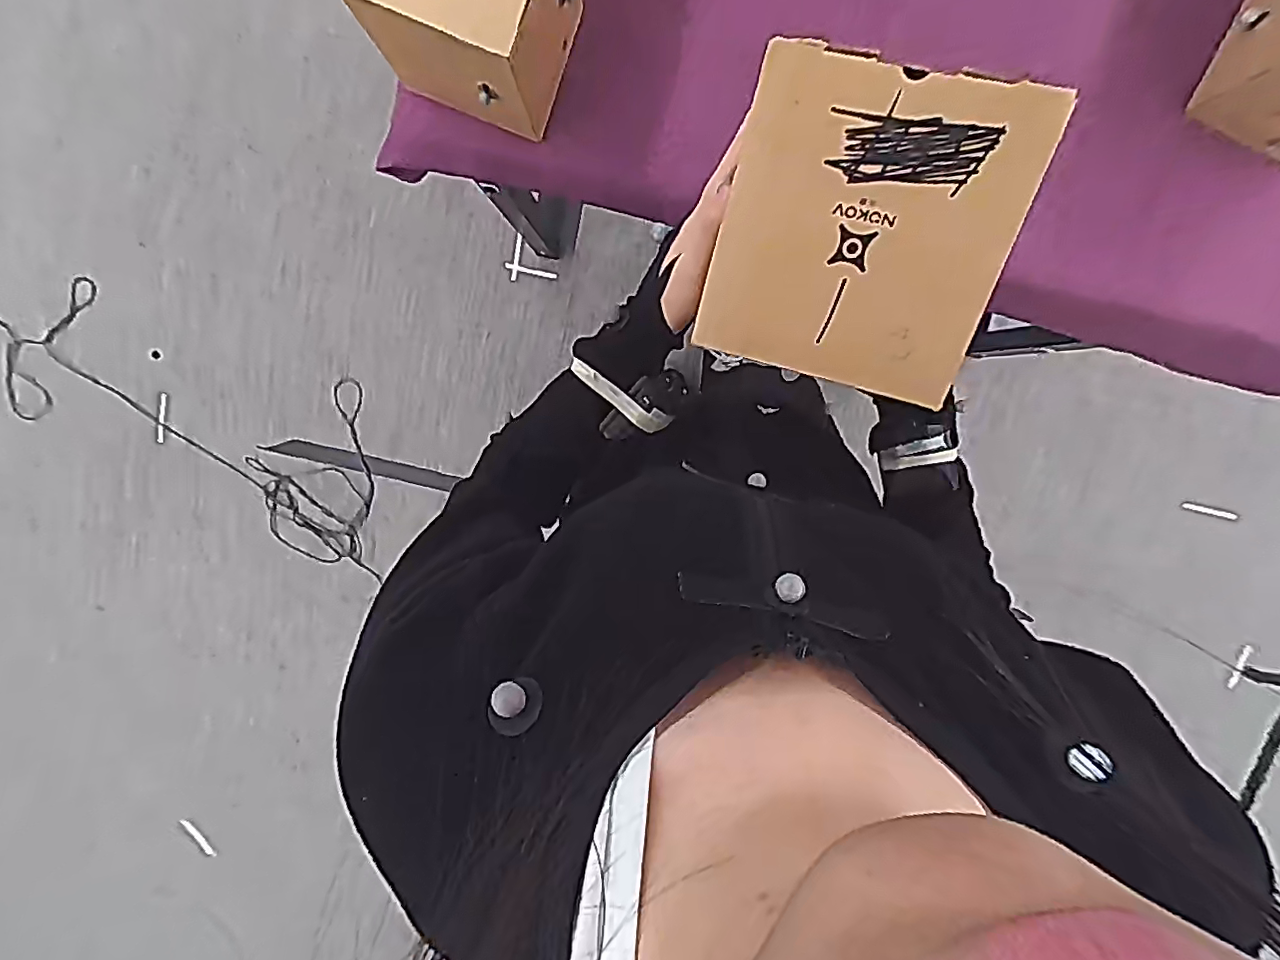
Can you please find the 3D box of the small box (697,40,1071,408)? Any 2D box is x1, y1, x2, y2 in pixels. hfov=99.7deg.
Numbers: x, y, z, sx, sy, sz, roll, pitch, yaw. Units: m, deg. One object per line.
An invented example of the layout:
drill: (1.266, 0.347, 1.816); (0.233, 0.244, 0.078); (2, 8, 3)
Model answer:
small box: (0.151, -0.170, 0.399); (0.168, 0.176, 0.179); (18, 110, 8)
